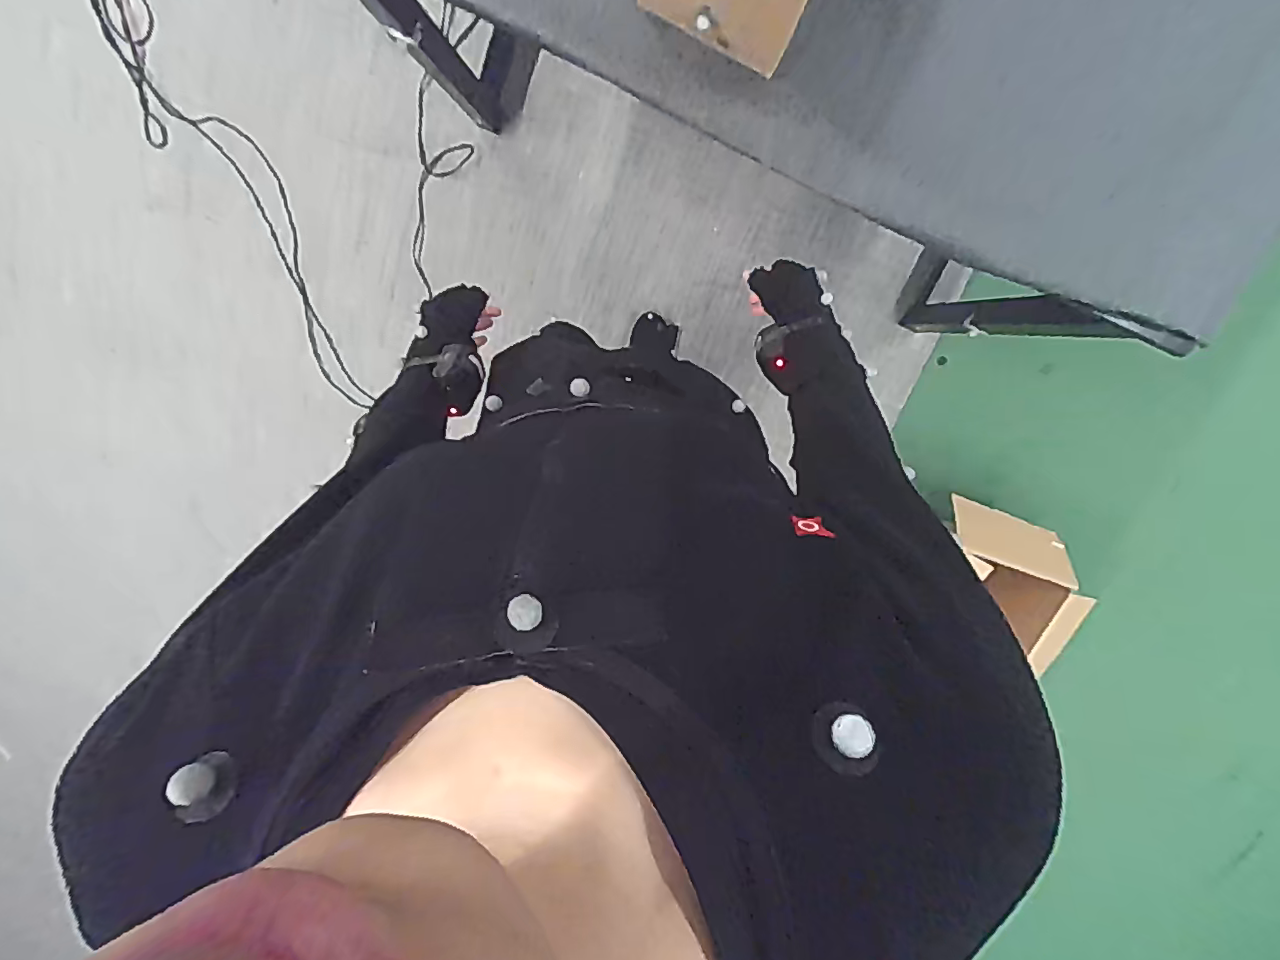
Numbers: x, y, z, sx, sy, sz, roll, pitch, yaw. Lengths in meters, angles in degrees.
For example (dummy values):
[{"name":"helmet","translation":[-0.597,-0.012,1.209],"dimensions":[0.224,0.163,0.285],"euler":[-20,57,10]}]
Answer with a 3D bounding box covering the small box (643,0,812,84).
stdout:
[{"name":"small box","translation":[0.104,-0.522,0.495],"dimensions":[0.168,0.176,0.179],"euler":[25,104,-5]}]
